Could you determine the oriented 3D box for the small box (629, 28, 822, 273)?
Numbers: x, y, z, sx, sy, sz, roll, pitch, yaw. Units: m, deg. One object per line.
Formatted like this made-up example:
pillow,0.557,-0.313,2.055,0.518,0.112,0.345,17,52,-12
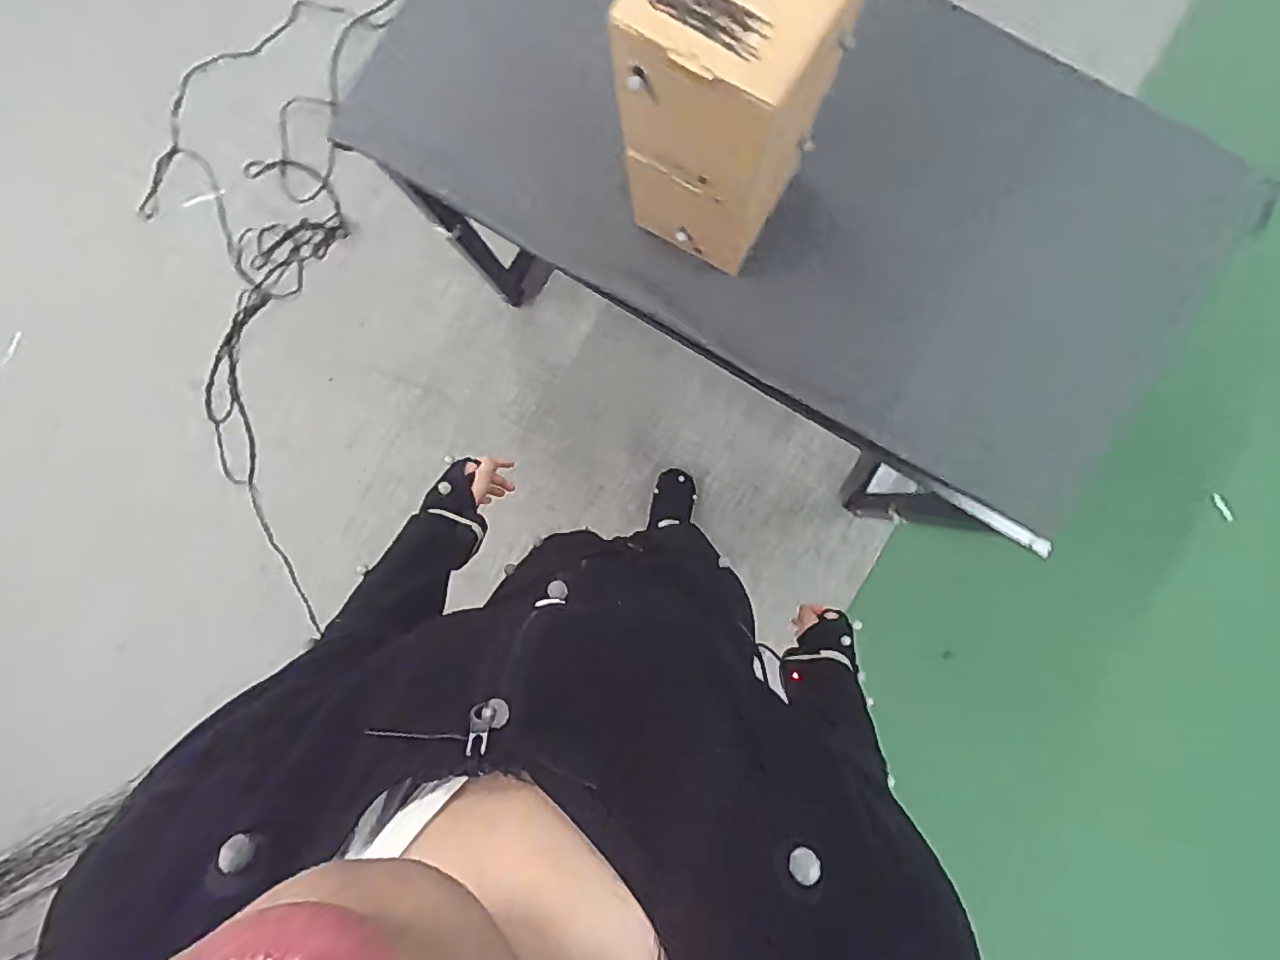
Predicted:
small box,0.101,-0.407,0.700,0.168,0.176,0.179,30,90,4
